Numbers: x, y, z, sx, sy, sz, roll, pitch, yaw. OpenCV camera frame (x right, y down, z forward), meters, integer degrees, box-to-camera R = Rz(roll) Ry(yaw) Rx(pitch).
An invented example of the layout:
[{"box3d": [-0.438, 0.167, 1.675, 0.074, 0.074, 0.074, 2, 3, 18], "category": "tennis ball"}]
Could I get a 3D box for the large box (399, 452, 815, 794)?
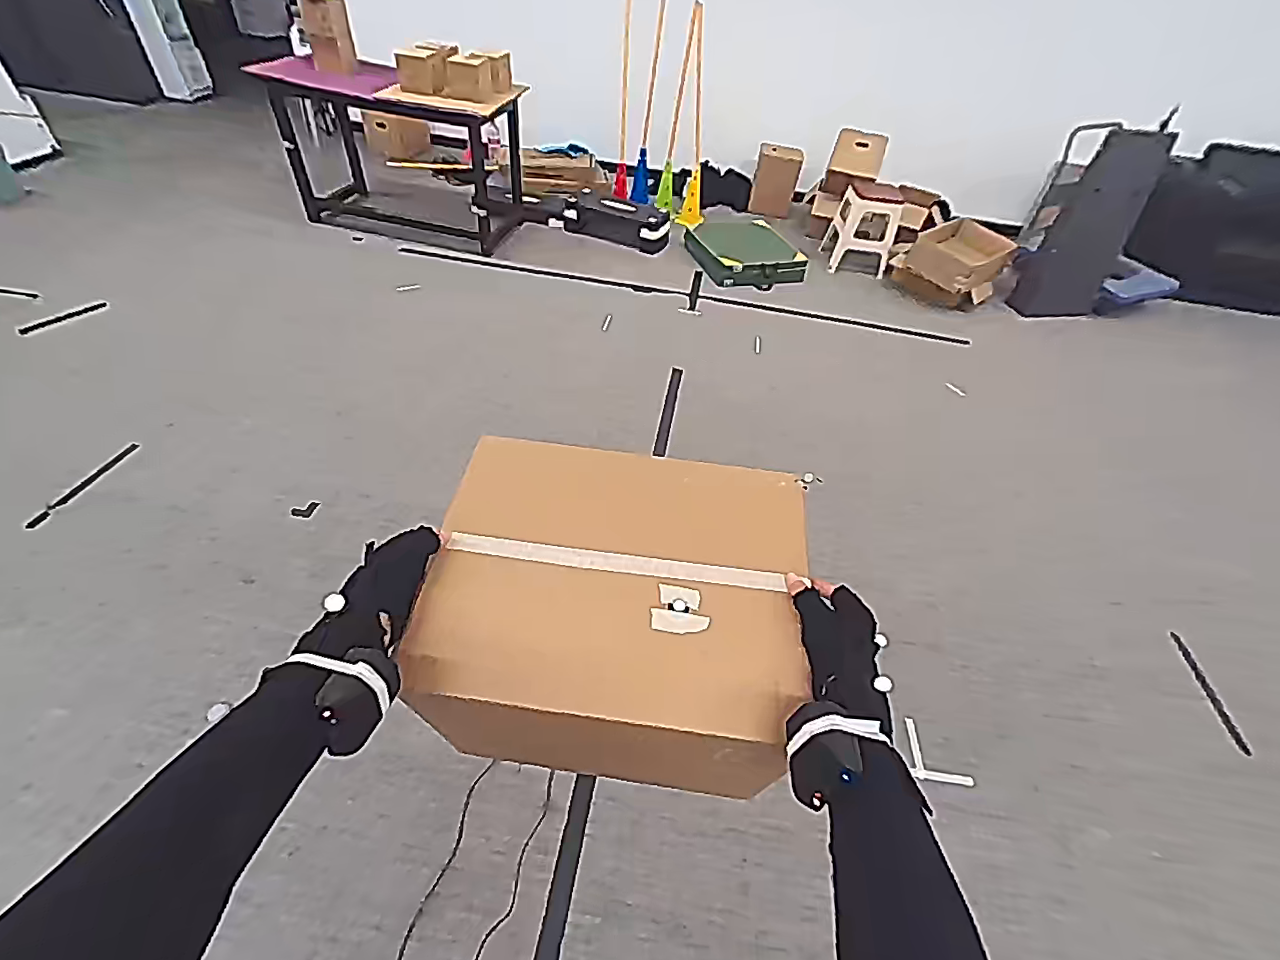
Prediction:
[{"box3d": [-0.026, 0.194, 0.712, 0.408, 0.320, 0.320, 7, 53, 2], "category": "large box"}]
